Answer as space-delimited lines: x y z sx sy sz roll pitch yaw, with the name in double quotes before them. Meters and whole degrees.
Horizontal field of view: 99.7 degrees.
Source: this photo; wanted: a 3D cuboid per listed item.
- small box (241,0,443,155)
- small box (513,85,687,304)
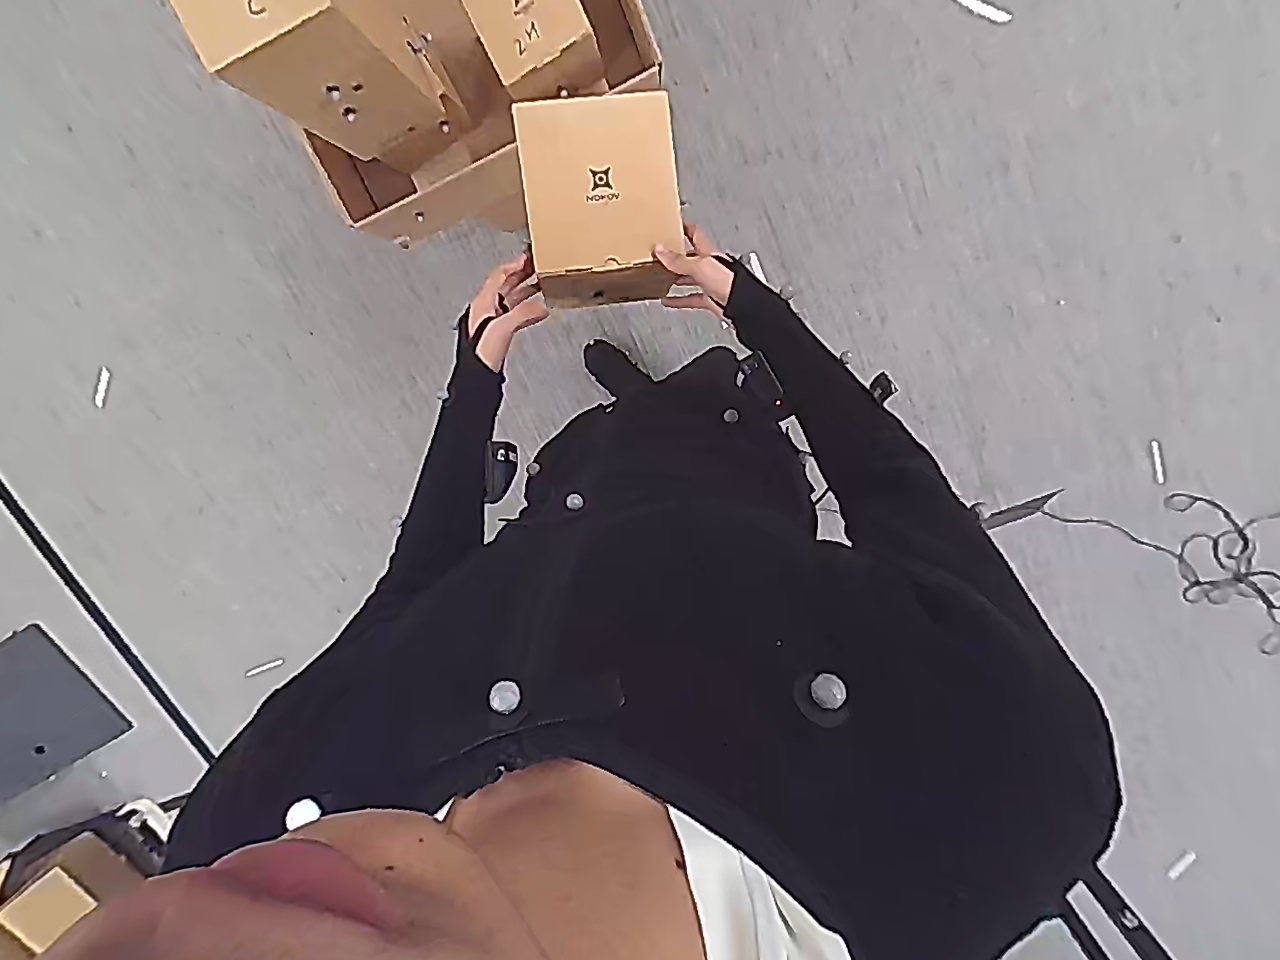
"small box" -0.426 -0.625 0.799 0.168 0.176 0.179 -22 103 9
"small box" -0.049 -0.326 0.648 0.168 0.176 0.179 -9 96 -5
